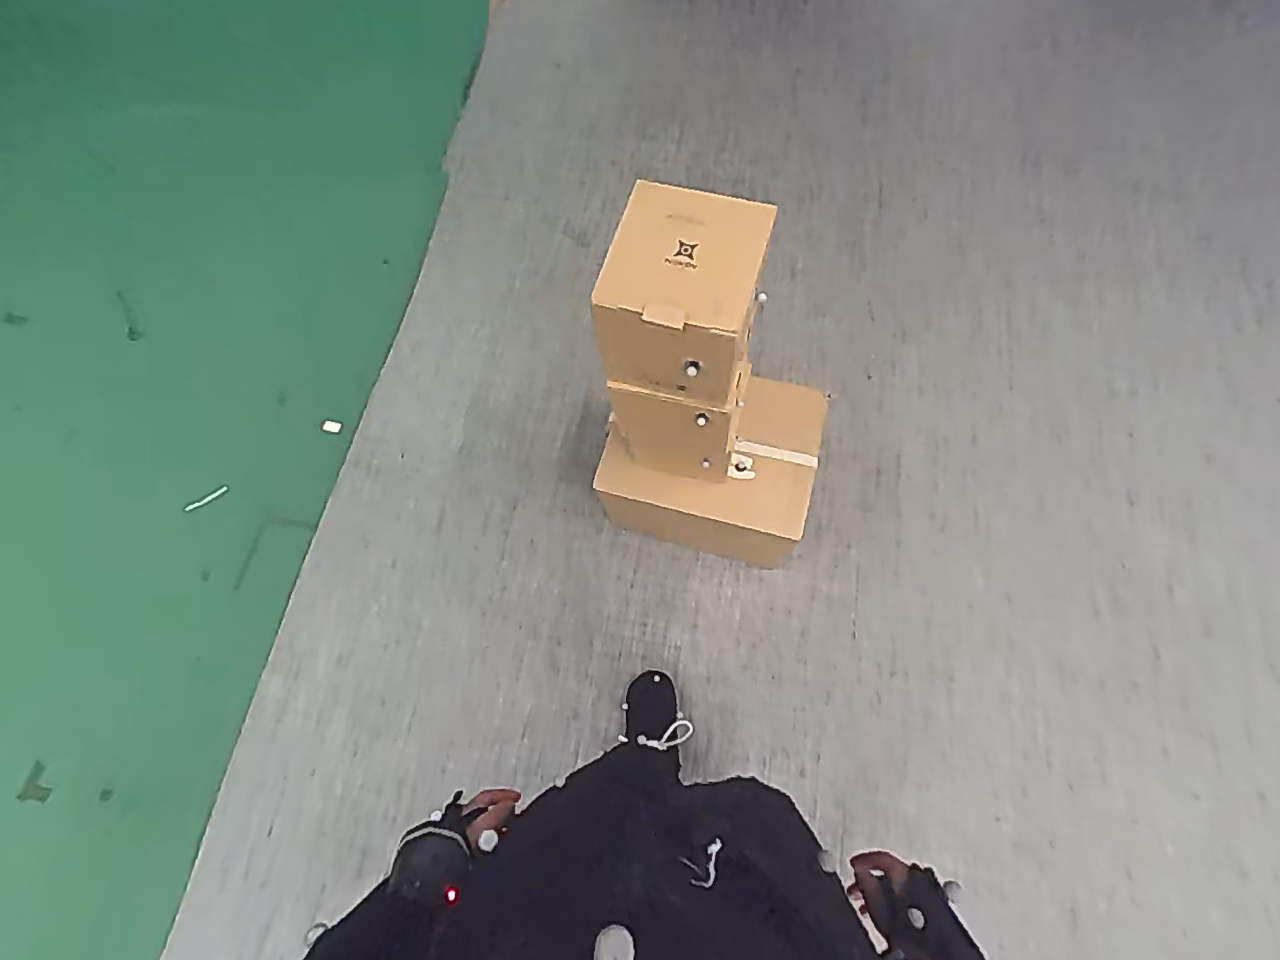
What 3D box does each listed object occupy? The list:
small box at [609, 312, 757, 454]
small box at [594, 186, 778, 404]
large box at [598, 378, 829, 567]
[{"bbox_3d":[0.066,-0.152,0.813,0.179,0.176,0.168,12,72,8],"label":"small box"},{"bbox_3d":[0.057,-0.215,0.663,0.168,0.176,0.179,15,72,8],"label":"small box"},{"bbox_3d":[0.154,-0.025,1.193,0.408,0.320,0.320,14,74,8],"label":"large box"}]
